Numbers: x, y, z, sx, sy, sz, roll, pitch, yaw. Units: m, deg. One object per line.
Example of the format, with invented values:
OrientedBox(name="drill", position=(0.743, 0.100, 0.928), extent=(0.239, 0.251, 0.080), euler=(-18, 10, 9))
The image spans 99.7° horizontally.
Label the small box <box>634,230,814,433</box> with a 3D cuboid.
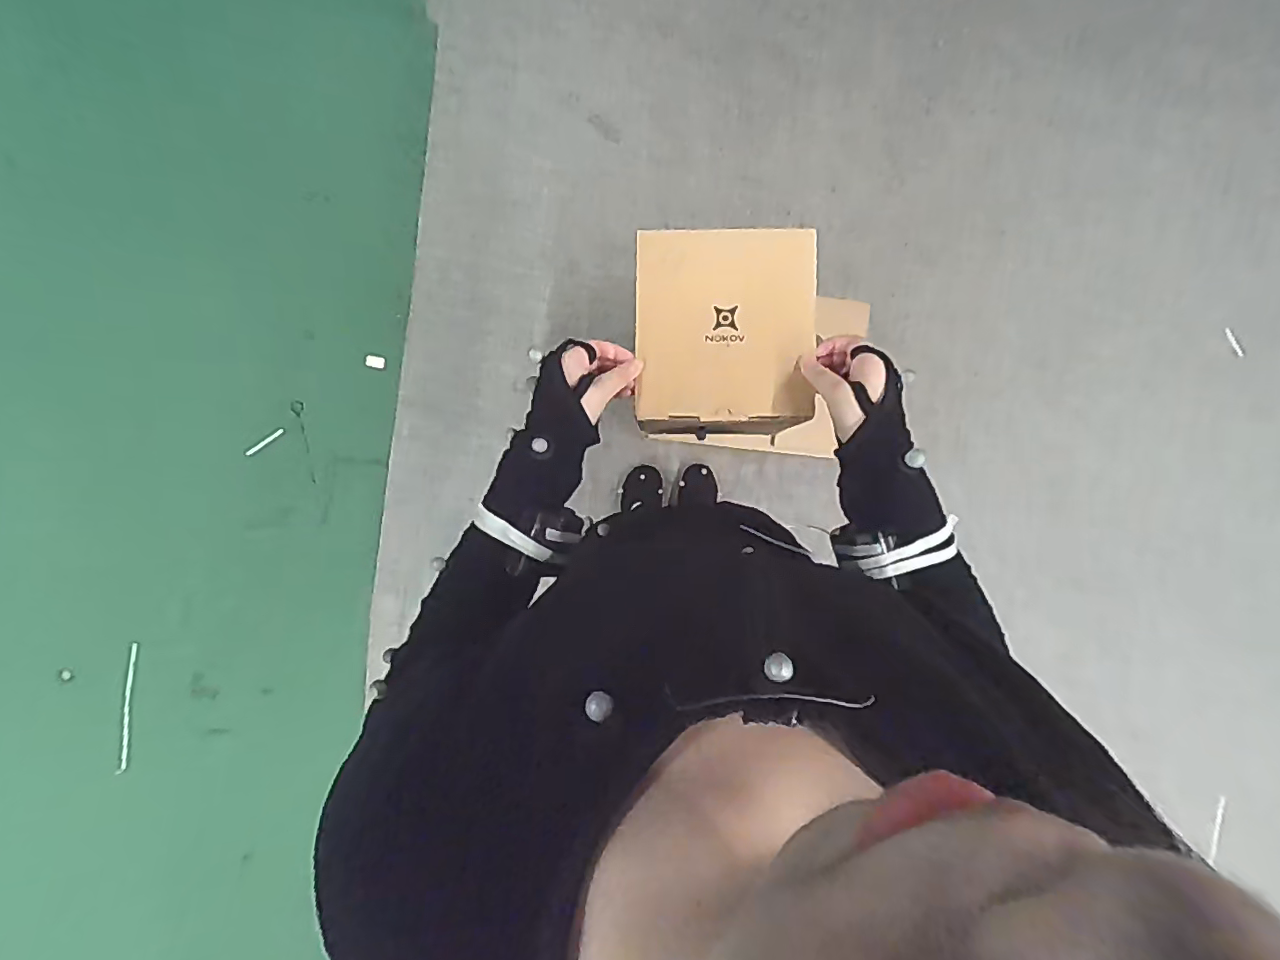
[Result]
OrientedBox(name="small box", position=(0.080, -0.143, 0.576), extent=(0.168, 0.176, 0.179), euler=(0, 92, 4))
